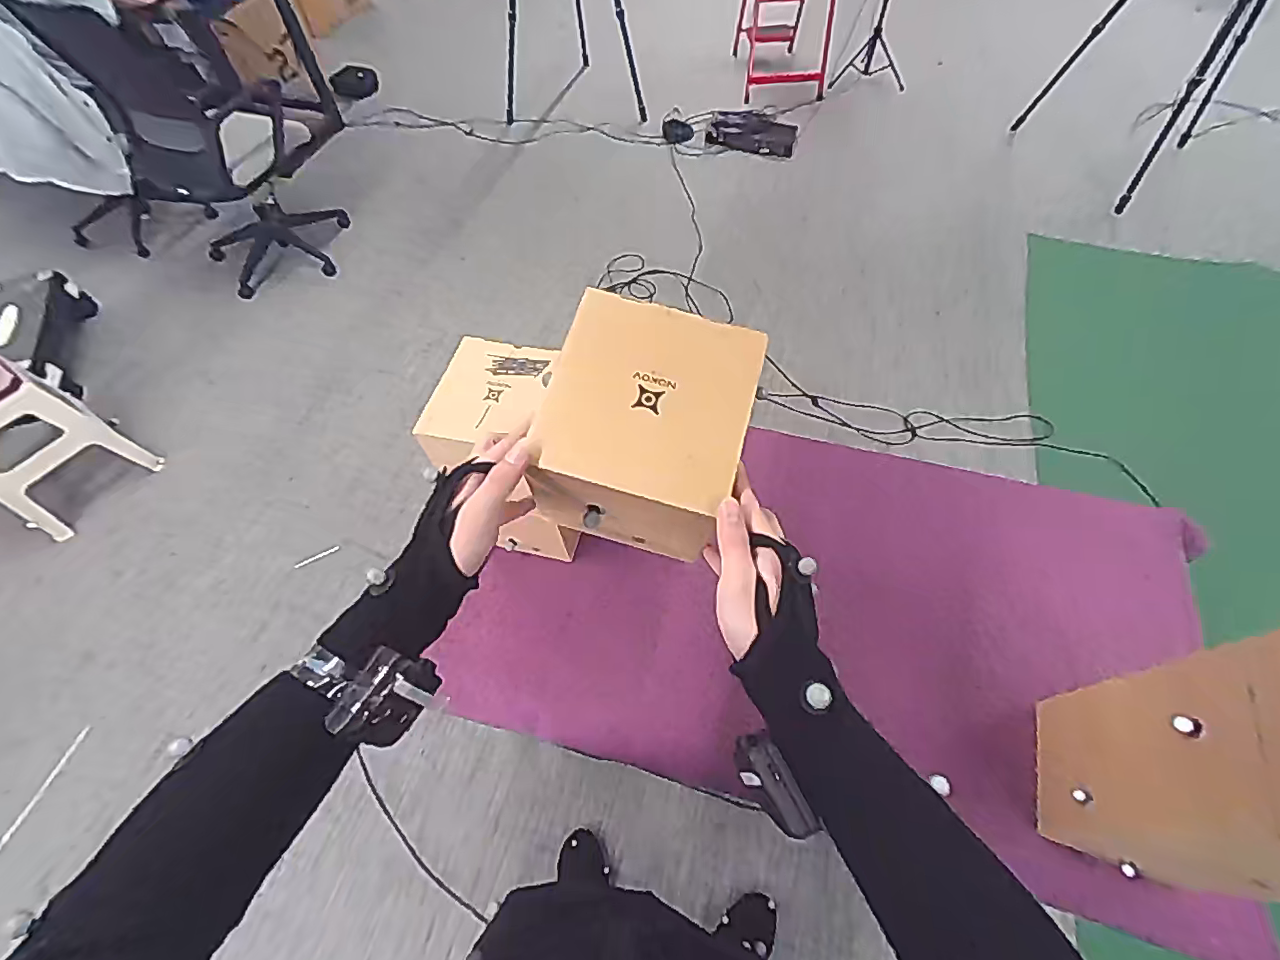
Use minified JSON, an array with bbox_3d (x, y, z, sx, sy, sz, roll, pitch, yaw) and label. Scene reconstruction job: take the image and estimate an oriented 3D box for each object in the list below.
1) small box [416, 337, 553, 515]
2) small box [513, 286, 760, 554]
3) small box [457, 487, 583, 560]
[{"bbox_3d":[-0.184,-0.075,0.779,0.168,0.176,0.179,10,60,9],"label":"small box"},{"bbox_3d":[0.000,-0.044,0.512,0.168,0.176,0.179,15,69,3],"label":"small box"},{"bbox_3d":[-0.179,0.012,0.918,0.168,0.176,0.179,11,60,9],"label":"small box"}]
